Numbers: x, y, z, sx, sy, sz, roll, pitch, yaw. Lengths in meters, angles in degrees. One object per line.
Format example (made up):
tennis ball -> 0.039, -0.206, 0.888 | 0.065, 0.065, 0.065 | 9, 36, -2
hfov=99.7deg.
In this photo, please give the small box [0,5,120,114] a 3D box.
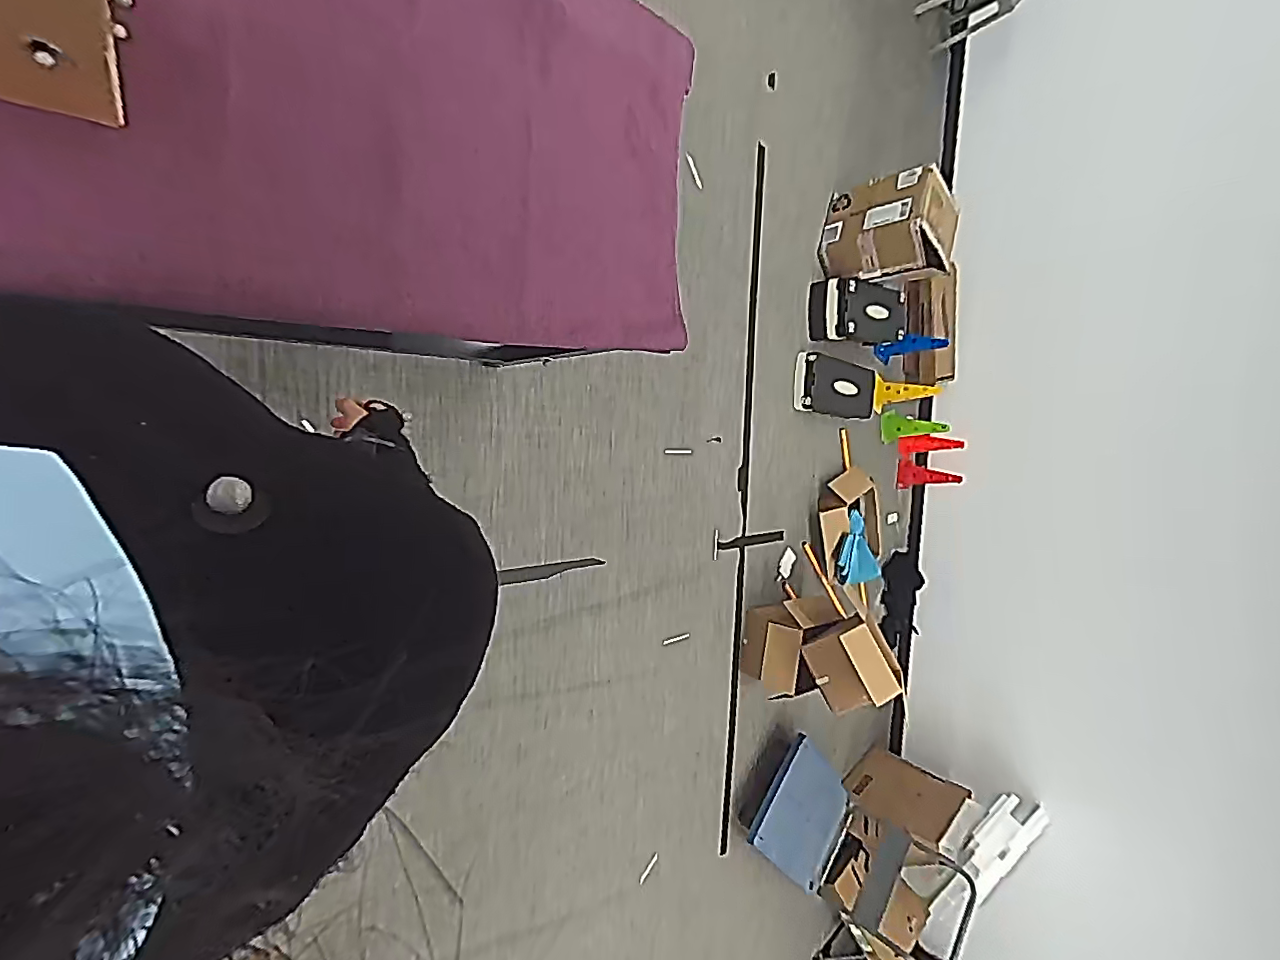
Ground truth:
small box -> -0.546, -0.431, 0.429 | 0.179, 0.176, 0.168 | -7, 101, -42
